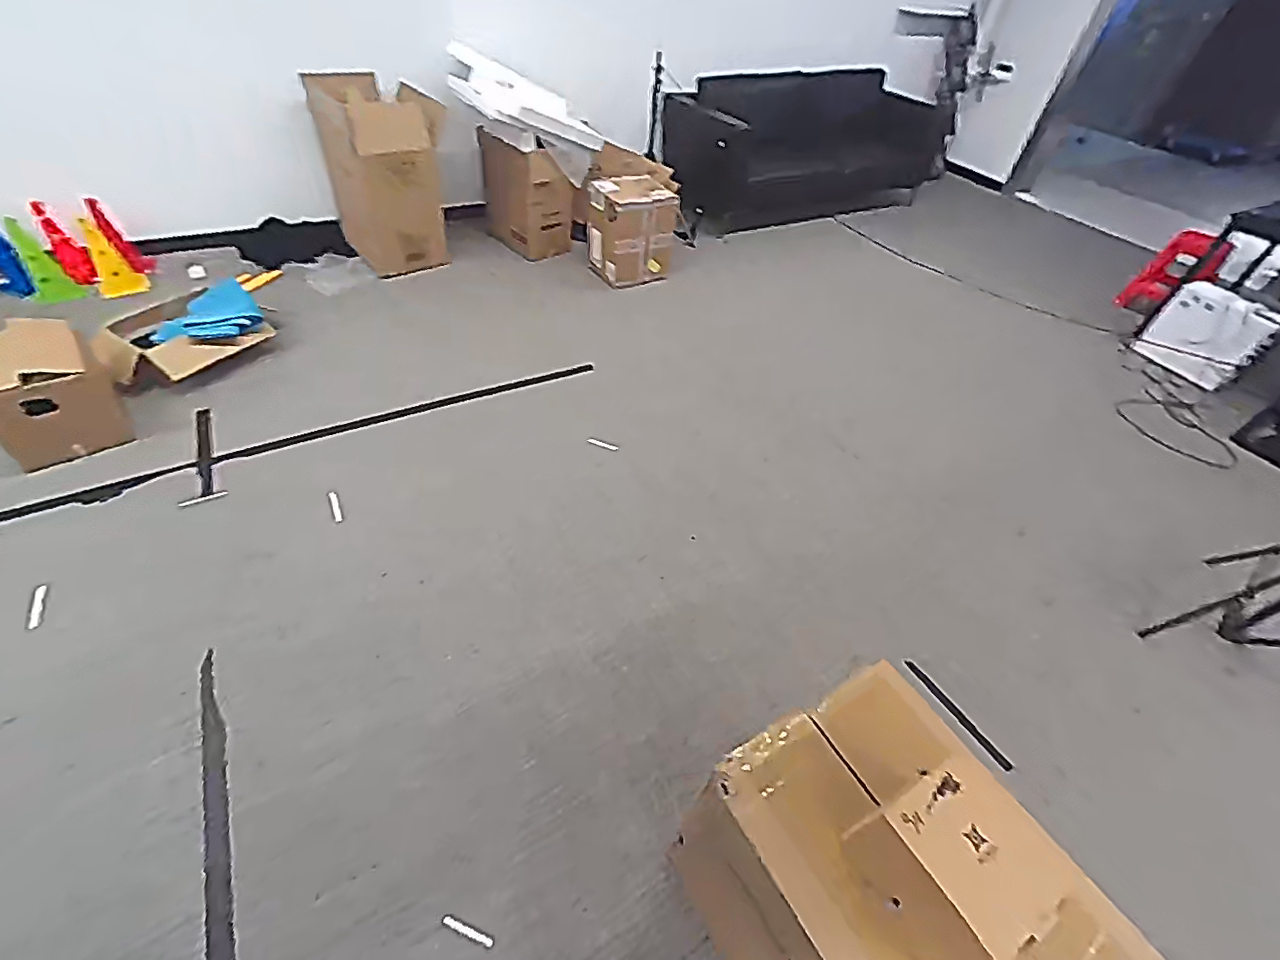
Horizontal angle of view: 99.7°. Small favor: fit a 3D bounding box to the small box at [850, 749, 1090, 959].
[{"bbox_3d":[0.418,0.502,0.717,0.168,0.176,0.179,-21,52,-23],"label":"small box"}]
